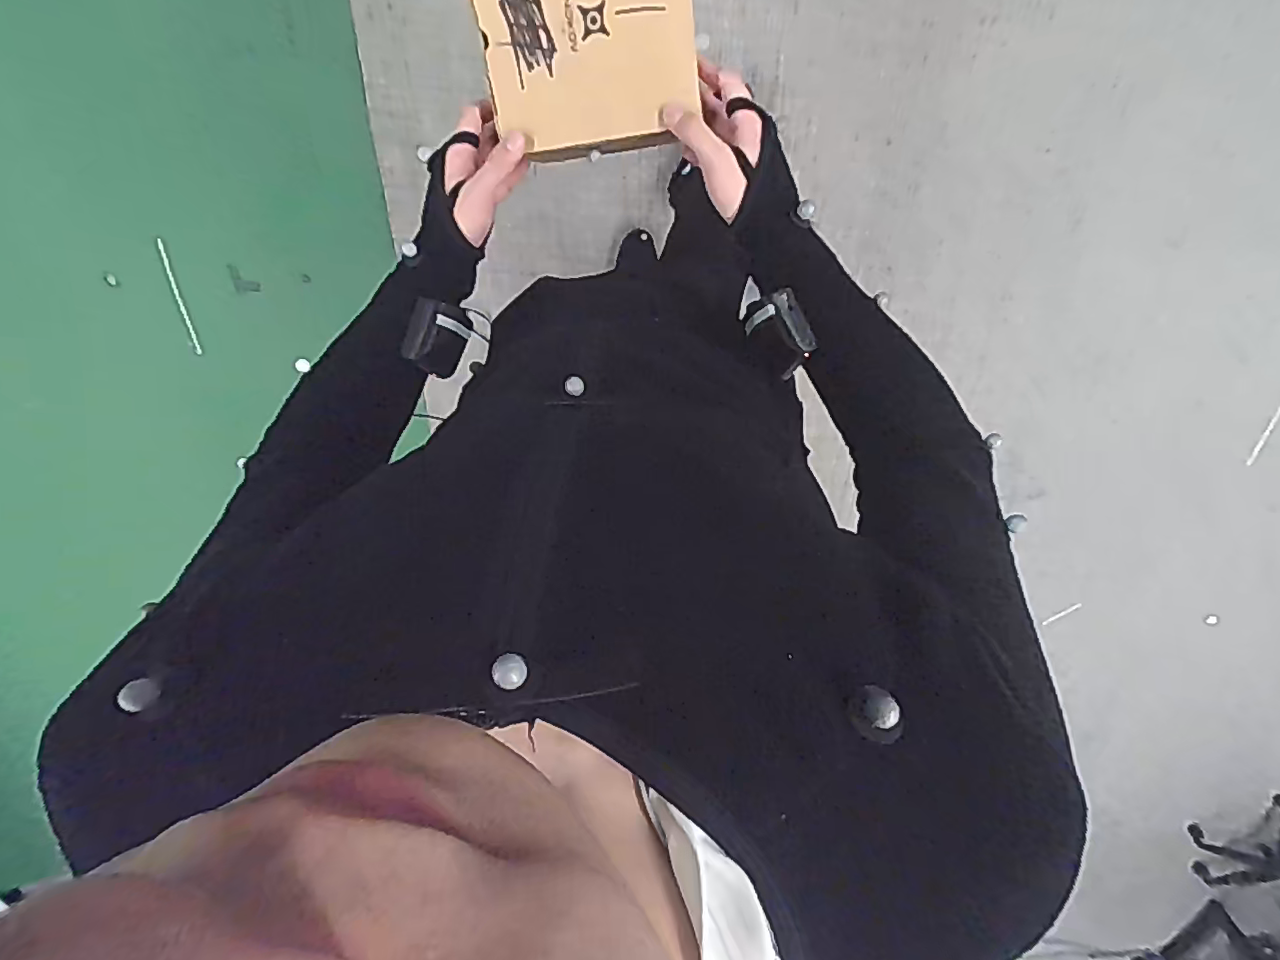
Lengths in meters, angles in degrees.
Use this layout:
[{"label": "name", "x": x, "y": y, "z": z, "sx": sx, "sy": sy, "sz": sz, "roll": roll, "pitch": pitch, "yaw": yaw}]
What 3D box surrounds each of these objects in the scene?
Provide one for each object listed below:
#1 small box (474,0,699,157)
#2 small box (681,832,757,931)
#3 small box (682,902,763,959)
[{"label": "small box", "x": -0.038, "y": -0.407, "z": 0.499, "sx": 0.179, "sy": 0.176, "sz": 0.168, "roll": -5, "pitch": 118, "yaw": 7}, {"label": "small box", "x": 0.200, "y": 1.055, "z": 1.416, "sx": 0.179, "sy": 0.176, "sz": 0.168, "roll": 3, "pitch": 120, "yaw": 3}, {"label": "small box", "x": 0.190, "y": 1.131, "z": 1.274, "sx": 0.179, "sy": 0.176, "sz": 0.168, "roll": 2, "pitch": 119, "yaw": 2}]
